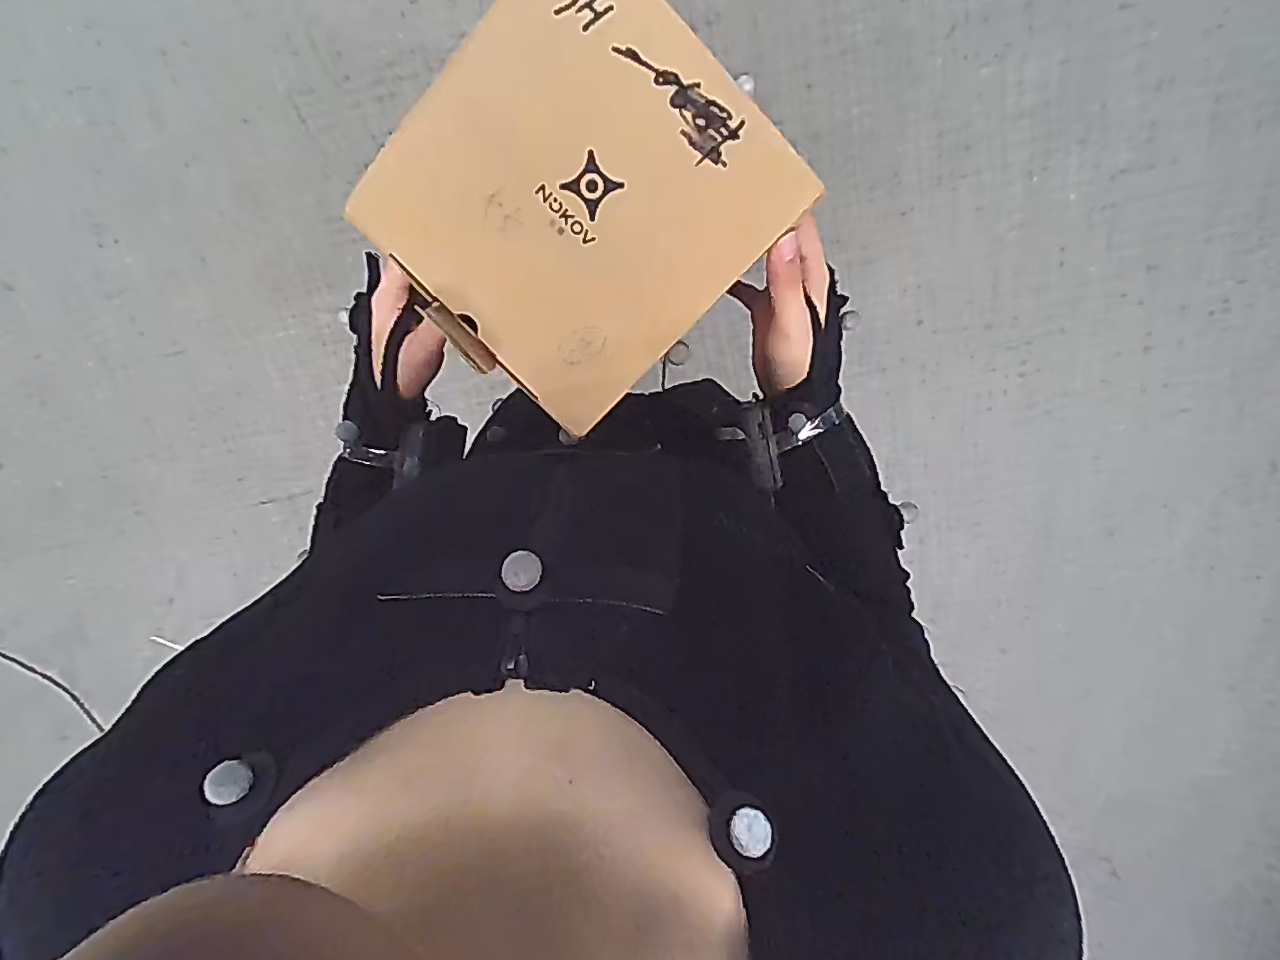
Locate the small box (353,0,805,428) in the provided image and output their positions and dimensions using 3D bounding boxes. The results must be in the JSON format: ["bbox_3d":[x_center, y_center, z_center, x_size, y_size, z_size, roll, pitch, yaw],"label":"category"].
[{"bbox_3d":[-0.028,-0.159,0.348,0.168,0.176,0.179,44,102,-8],"label":"small box"}]
